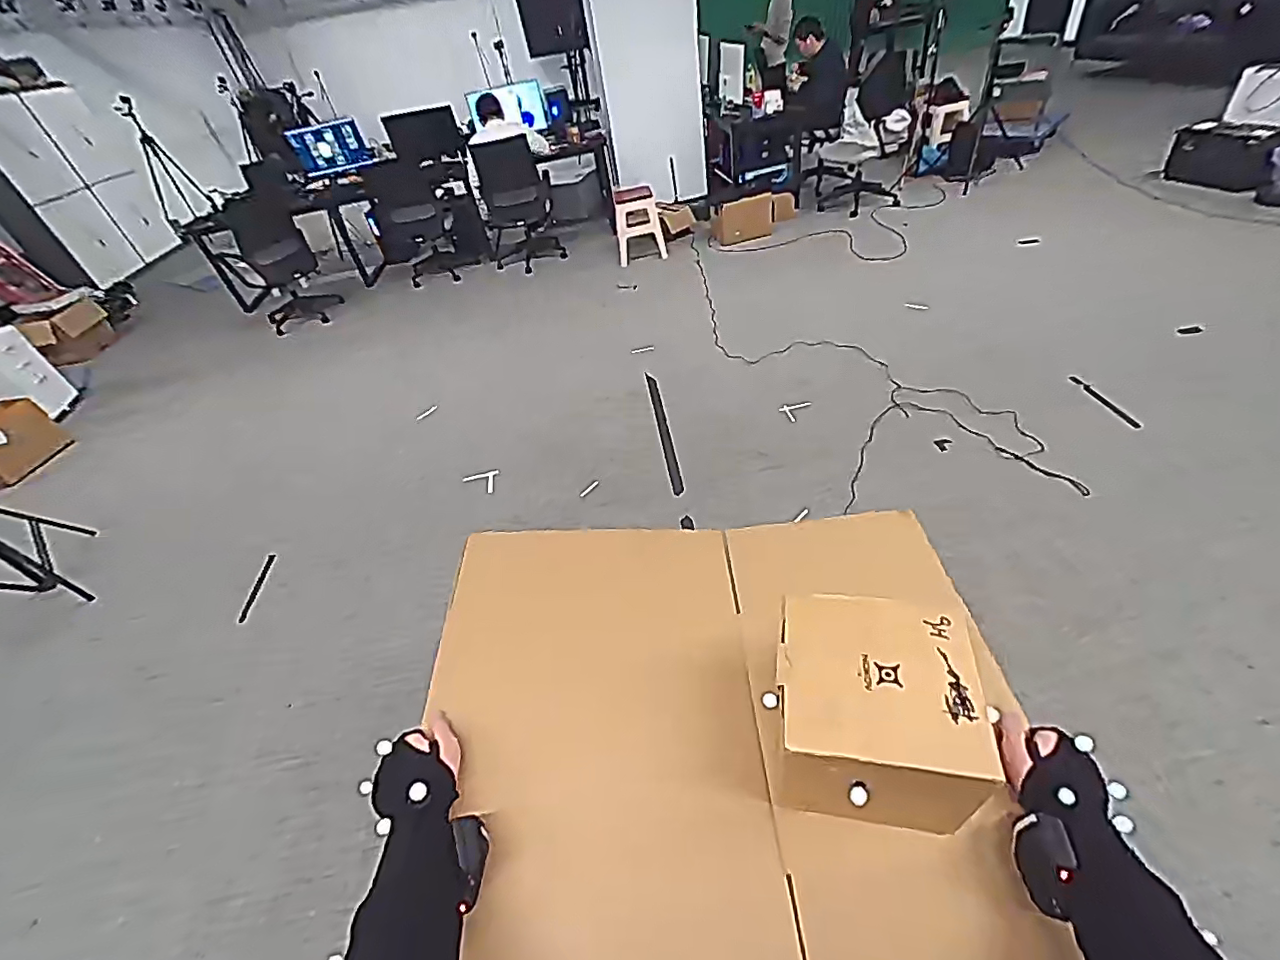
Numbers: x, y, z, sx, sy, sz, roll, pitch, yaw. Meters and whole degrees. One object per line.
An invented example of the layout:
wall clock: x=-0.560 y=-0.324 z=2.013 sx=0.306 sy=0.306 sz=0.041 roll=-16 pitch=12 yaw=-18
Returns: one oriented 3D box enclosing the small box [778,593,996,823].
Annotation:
small box: x=0.238 y=0.239 z=0.570 sx=0.179 sy=0.176 sz=0.168 roll=1 pitch=45 yaw=14
